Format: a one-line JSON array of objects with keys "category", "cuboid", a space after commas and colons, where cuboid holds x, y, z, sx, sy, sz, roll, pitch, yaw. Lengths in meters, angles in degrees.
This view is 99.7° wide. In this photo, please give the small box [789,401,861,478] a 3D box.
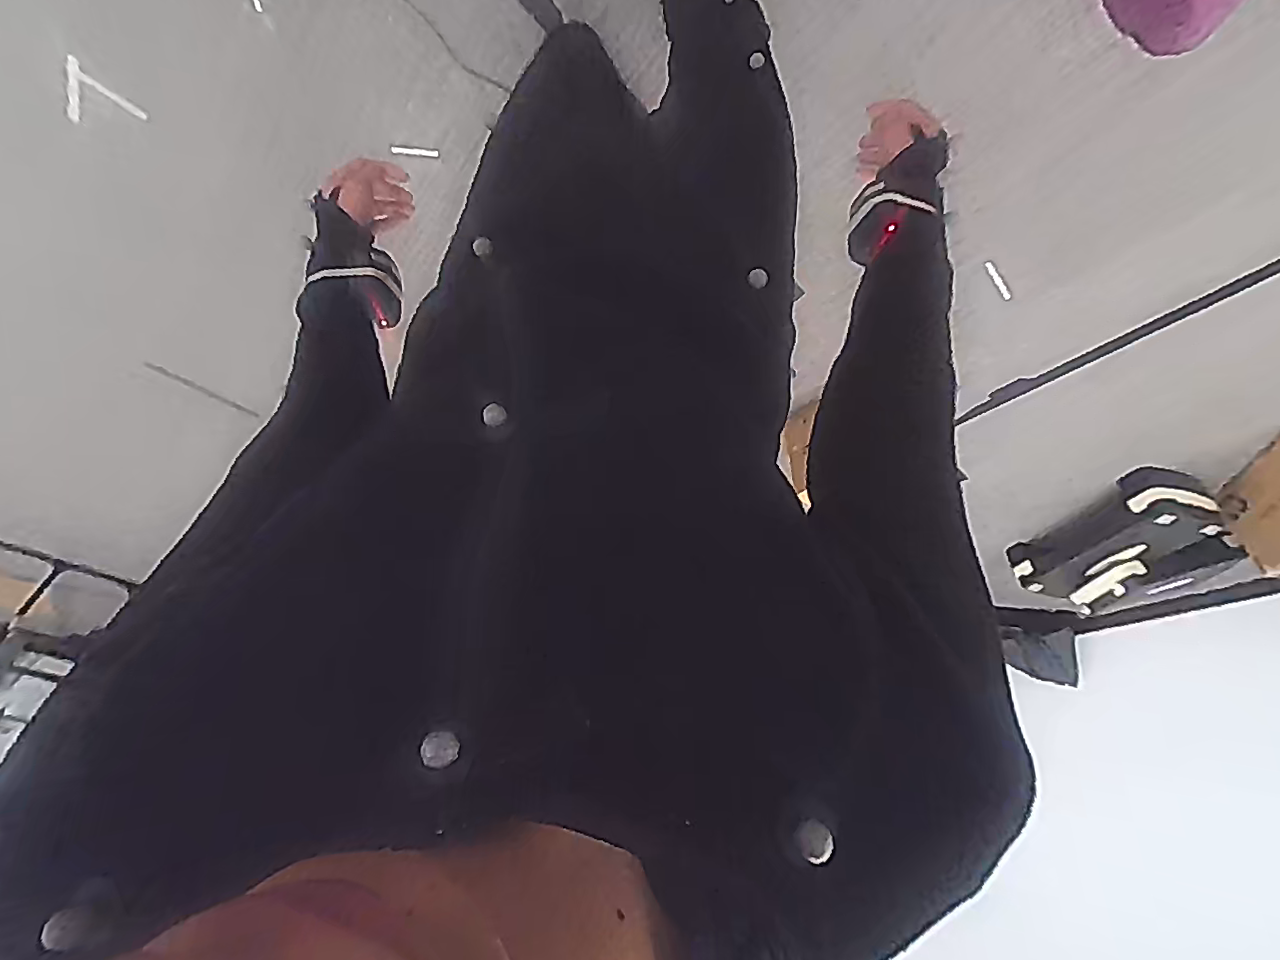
[{"category": "small box", "cuboid": [0.642, -0.142, 1.884, 0.179, 0.176, 0.168, 30, 136, -27]}]
